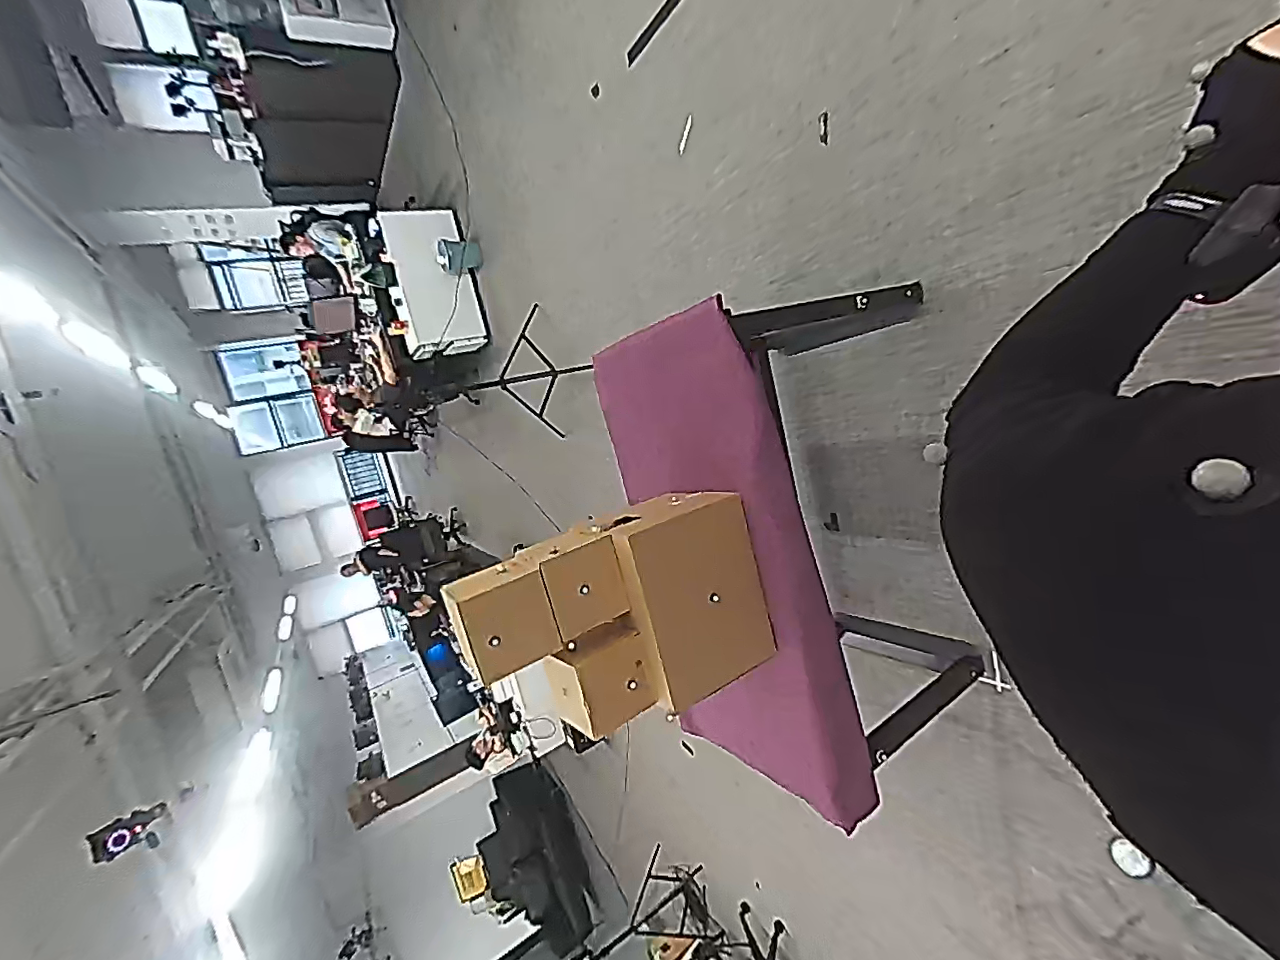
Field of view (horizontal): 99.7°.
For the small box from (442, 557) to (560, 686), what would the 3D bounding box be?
[{"bbox_3d":[-0.281,0.277,1.099,0.168,0.176,0.179,1,108,60],"label":"small box"}]
